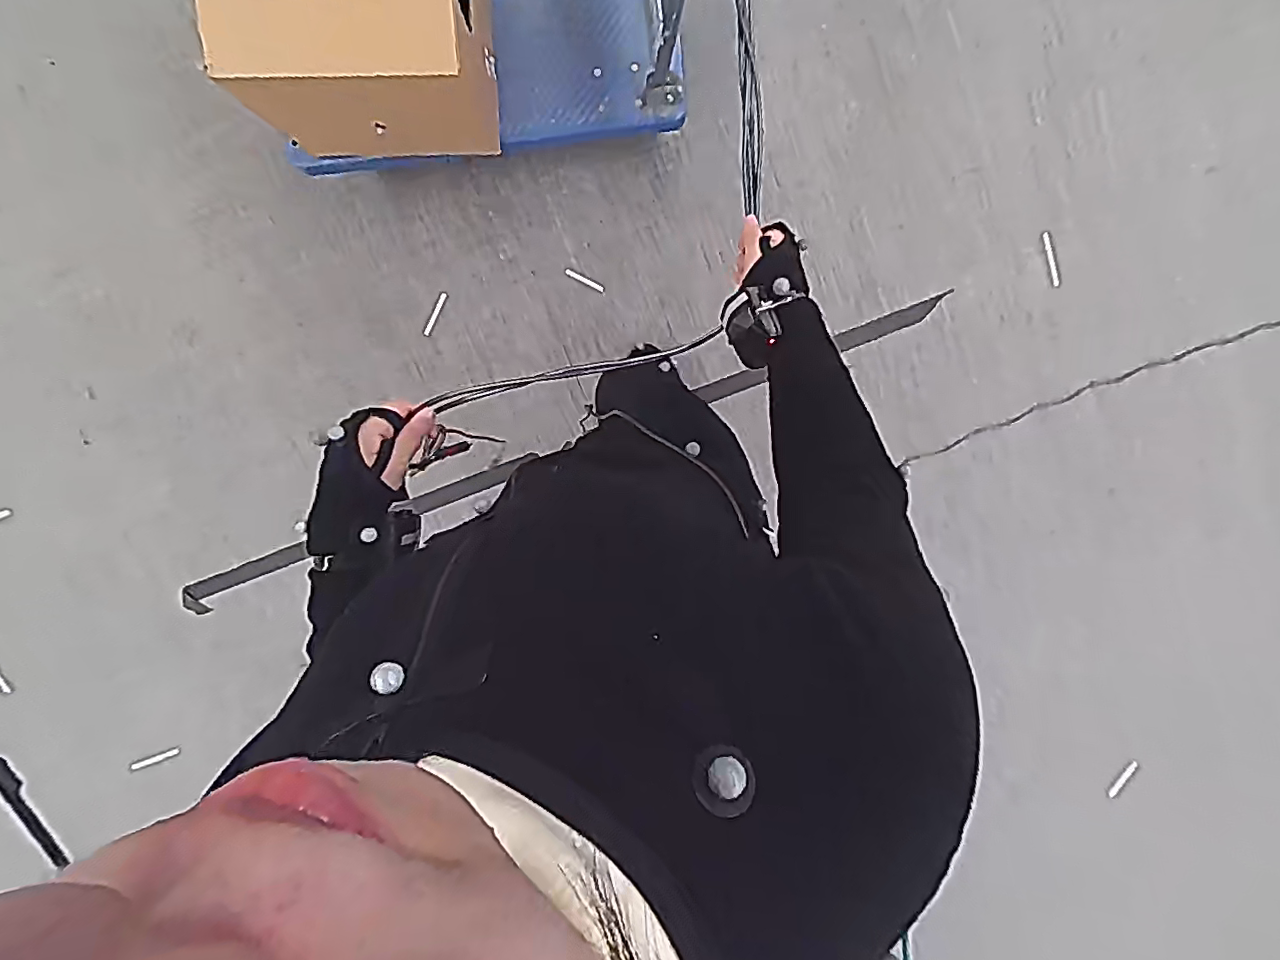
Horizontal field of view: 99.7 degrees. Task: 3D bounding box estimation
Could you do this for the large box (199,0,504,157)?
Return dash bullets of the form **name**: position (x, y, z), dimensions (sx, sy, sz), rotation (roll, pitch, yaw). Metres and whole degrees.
- **large box**: position (-0.493, -0.819, 0.989), dimensions (0.408, 0.320, 0.320), rotation (-2, 99, -1)
